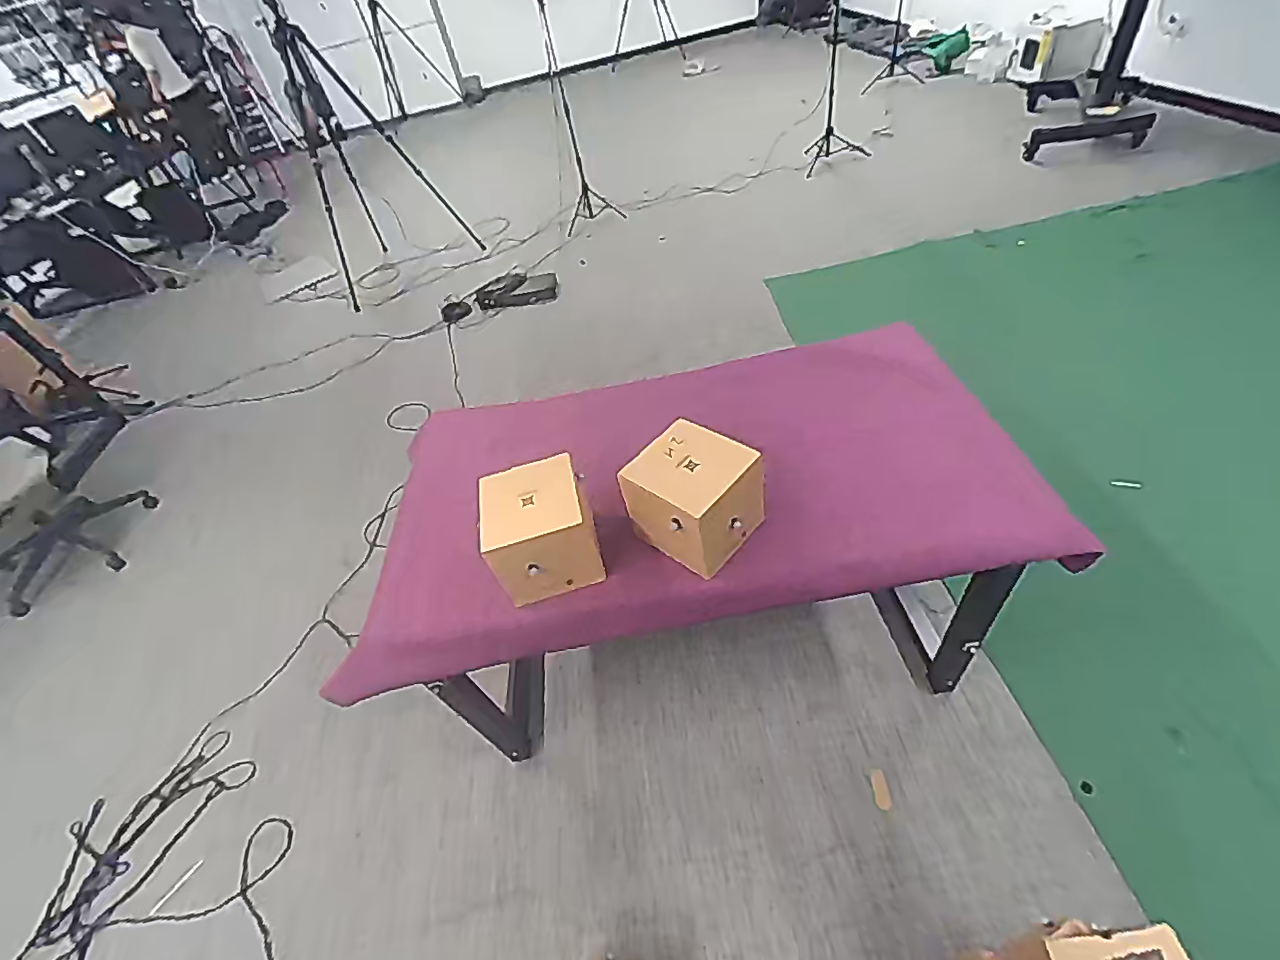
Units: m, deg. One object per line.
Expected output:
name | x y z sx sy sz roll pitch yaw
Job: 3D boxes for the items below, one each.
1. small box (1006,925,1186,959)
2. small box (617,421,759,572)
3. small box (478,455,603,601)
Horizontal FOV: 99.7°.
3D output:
small box | 0.629 0.714 0.714 0.168 0.176 0.179 -10 47 4
small box | 0.090 0.033 0.933 0.179 0.176 0.168 29 58 35
small box | -0.172 0.090 0.945 0.168 0.176 0.179 -17 44 -2
